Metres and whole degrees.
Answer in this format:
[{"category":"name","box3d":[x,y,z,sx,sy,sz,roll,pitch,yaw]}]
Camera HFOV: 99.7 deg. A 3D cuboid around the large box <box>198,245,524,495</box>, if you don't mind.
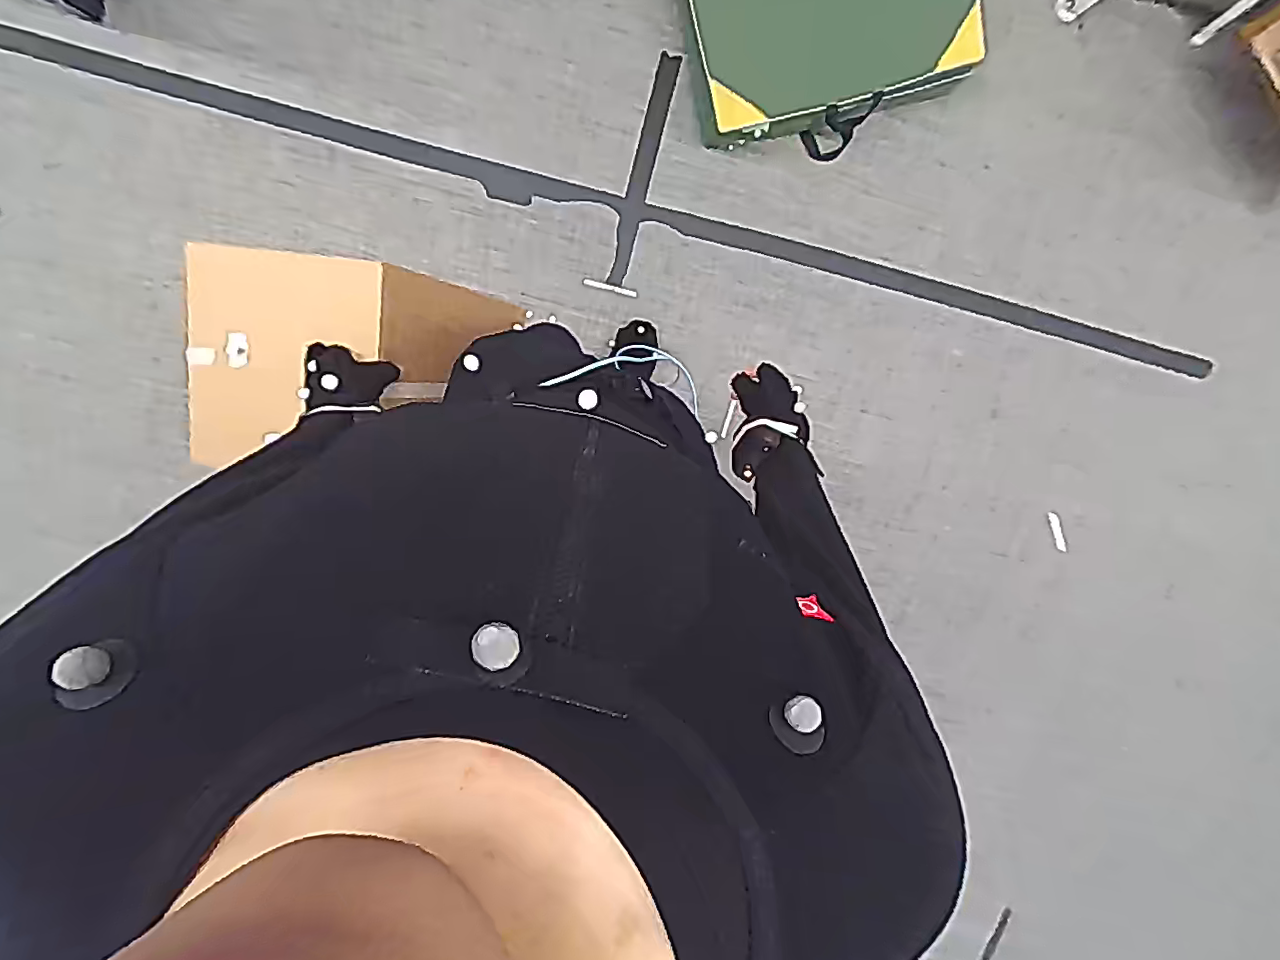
[{"category":"large box","box3d":[-0.440,-0.190,0.930,0.320,0.408,0.320,13,103,11]}]
